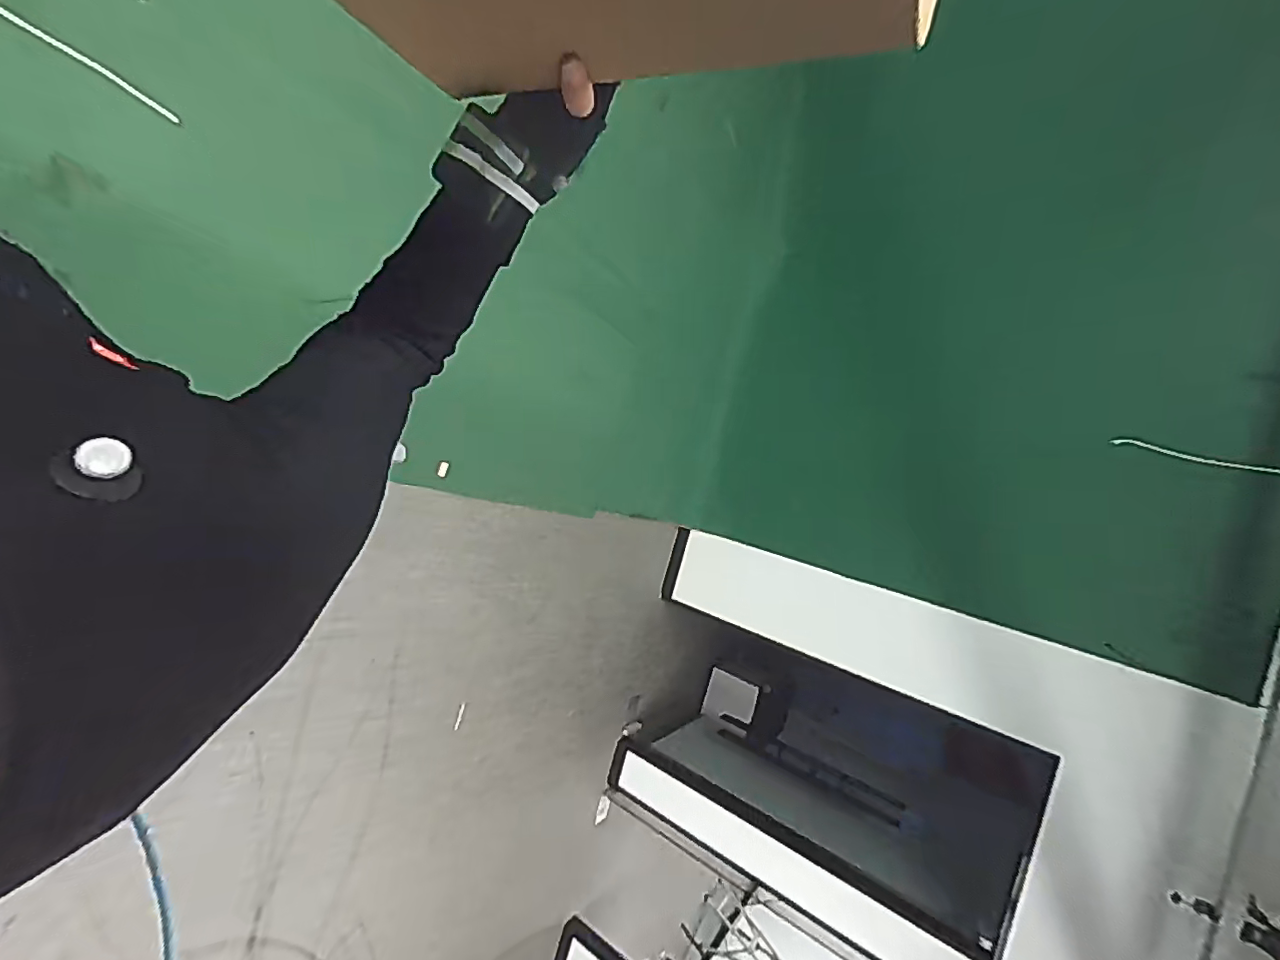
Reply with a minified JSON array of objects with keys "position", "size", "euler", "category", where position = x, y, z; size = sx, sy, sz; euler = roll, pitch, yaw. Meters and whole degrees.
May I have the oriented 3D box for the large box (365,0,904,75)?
[{"position":[-0.061,-0.399,0.138],"size":[0.408,0.320,0.320],"euler":[-4,107,-65],"category":"large box"}]
